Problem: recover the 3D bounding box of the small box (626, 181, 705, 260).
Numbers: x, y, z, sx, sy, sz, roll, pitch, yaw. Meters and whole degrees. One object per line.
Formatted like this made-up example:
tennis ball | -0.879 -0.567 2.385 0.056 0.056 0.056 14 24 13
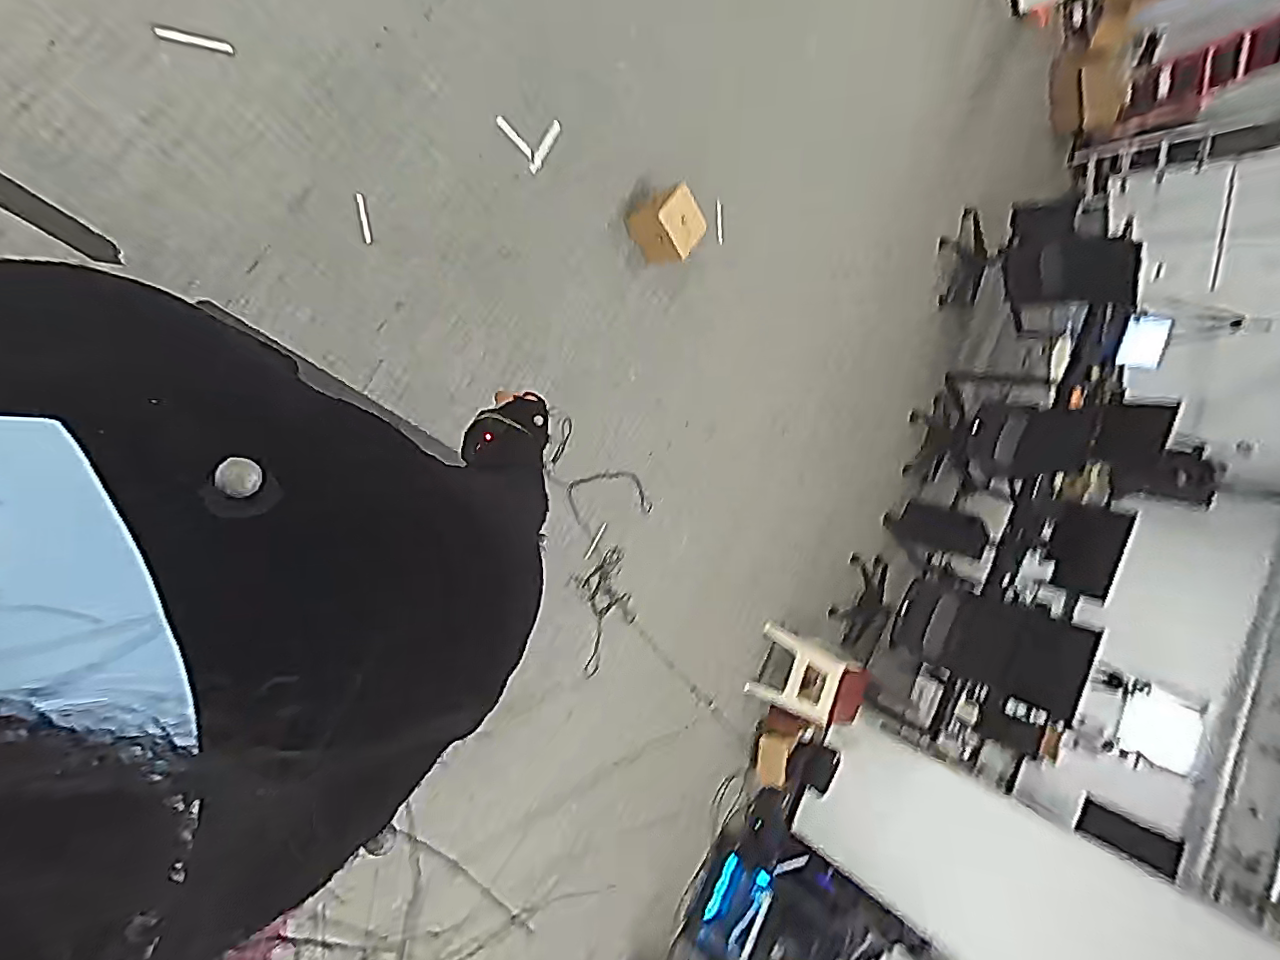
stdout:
small box | 0.083 -0.869 1.829 0.168 0.176 0.179 -55 132 -16
